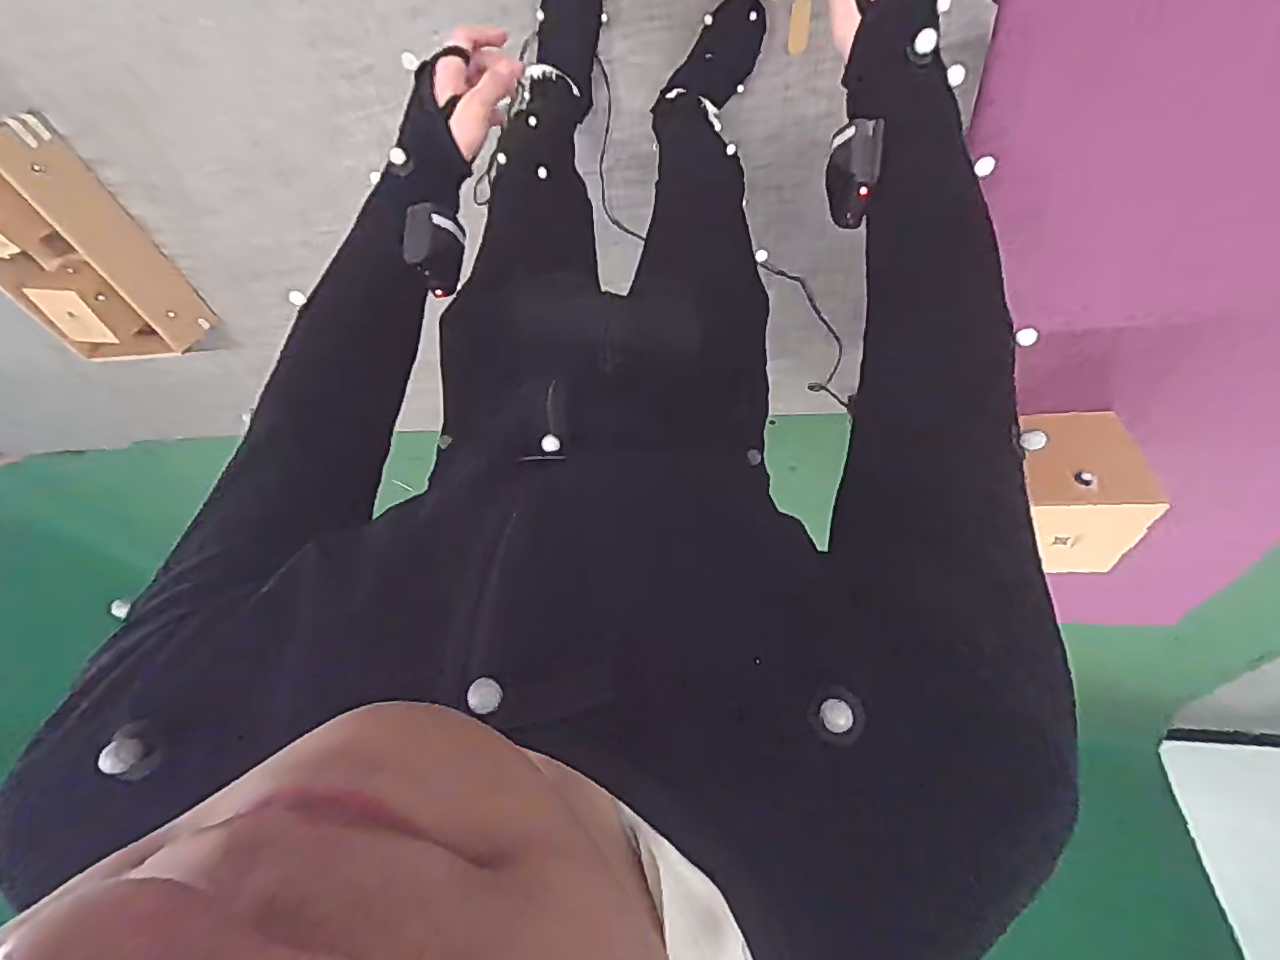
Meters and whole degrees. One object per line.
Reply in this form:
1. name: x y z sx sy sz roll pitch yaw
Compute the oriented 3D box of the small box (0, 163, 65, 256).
1. small box: -1.680 -0.698 1.392 0.168 0.176 0.179 -4 141 15
